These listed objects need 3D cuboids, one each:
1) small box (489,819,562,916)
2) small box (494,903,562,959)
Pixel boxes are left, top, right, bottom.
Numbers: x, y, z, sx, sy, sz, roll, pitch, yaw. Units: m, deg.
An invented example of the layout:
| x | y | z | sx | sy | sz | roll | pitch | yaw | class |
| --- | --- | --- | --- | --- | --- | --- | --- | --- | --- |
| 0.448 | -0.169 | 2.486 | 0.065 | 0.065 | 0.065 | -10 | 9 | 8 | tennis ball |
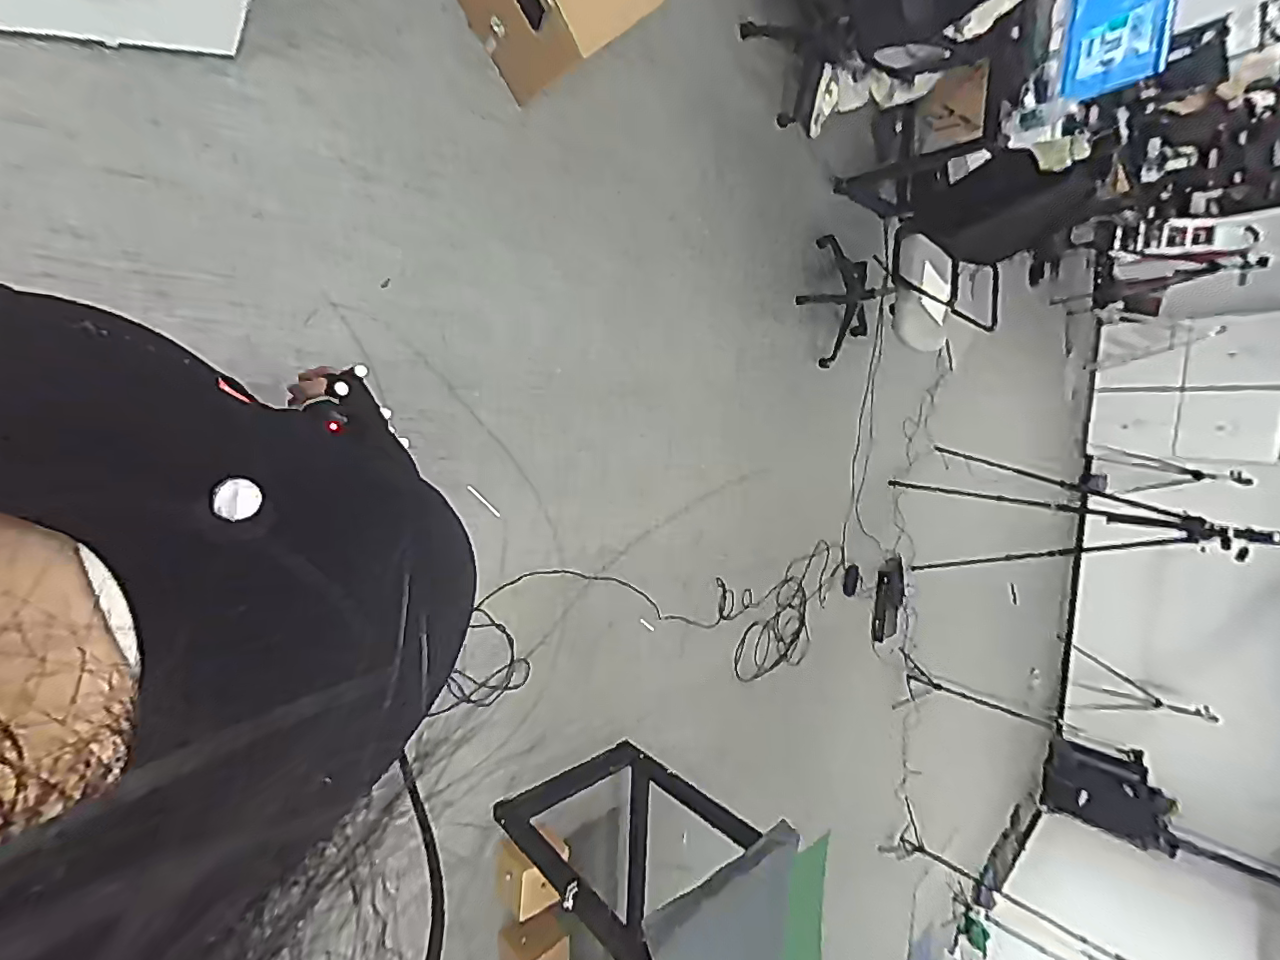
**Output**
| x | y | z | sx | sy | sz | roll | pitch | yaw | class |
| --- | --- | --- | --- | --- | --- | --- | --- | --- | --- |
| -0.383 | 1.274 | 1.792 | 0.179 | 0.176 | 0.168 | 2 | 94 | -43 | small box |
| -0.382 | 1.590 | 1.831 | 0.179 | 0.176 | 0.168 | -7 | 101 | -43 | small box |
